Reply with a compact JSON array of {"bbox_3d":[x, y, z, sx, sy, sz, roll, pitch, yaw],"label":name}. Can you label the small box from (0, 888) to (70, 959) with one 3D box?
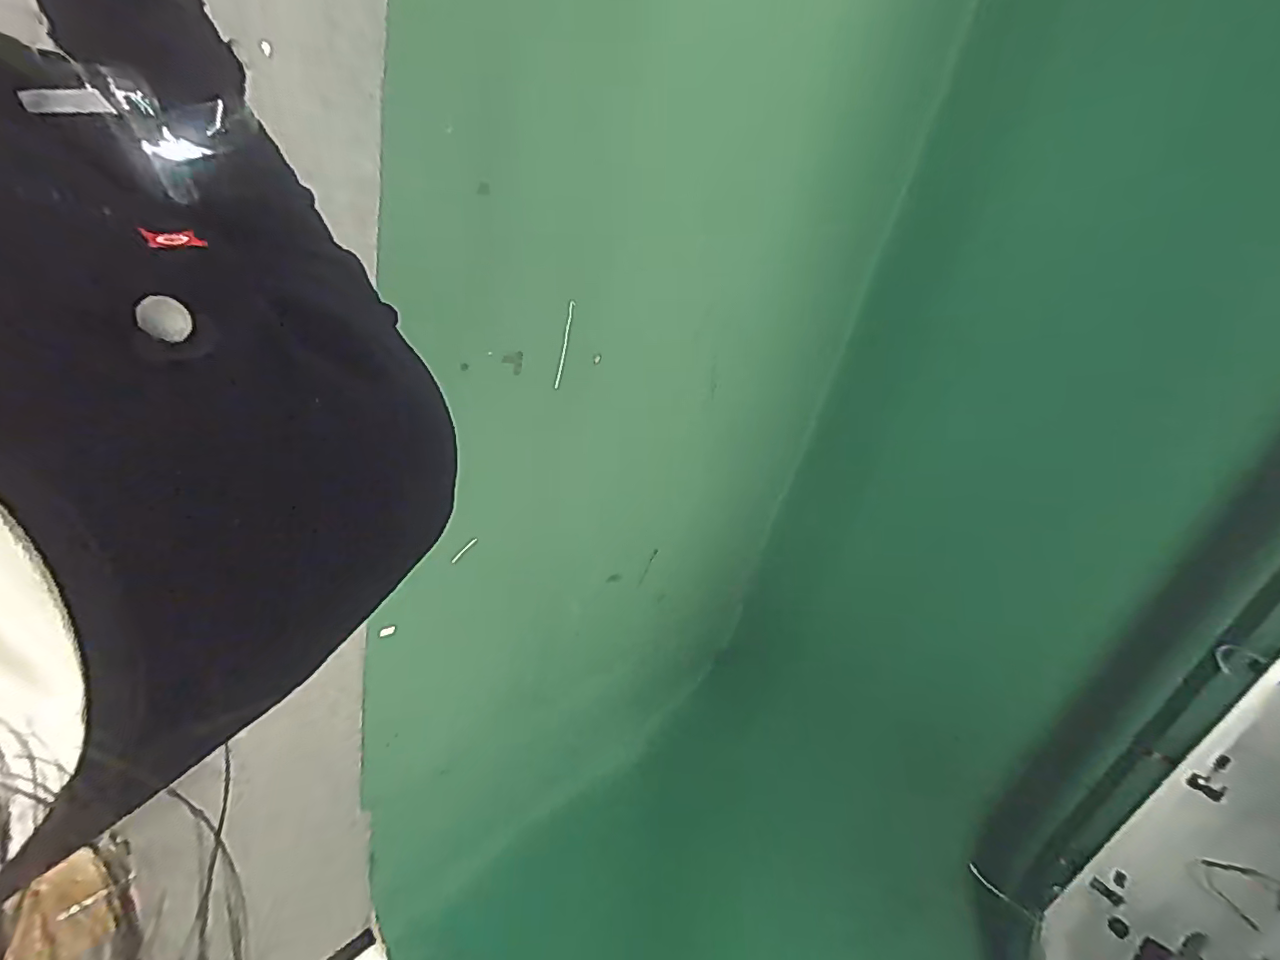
[{"bbox_3d":[-1.256,0.959,1.052,0.179,0.176,0.168,-19,128,-44],"label":"small box"}]
